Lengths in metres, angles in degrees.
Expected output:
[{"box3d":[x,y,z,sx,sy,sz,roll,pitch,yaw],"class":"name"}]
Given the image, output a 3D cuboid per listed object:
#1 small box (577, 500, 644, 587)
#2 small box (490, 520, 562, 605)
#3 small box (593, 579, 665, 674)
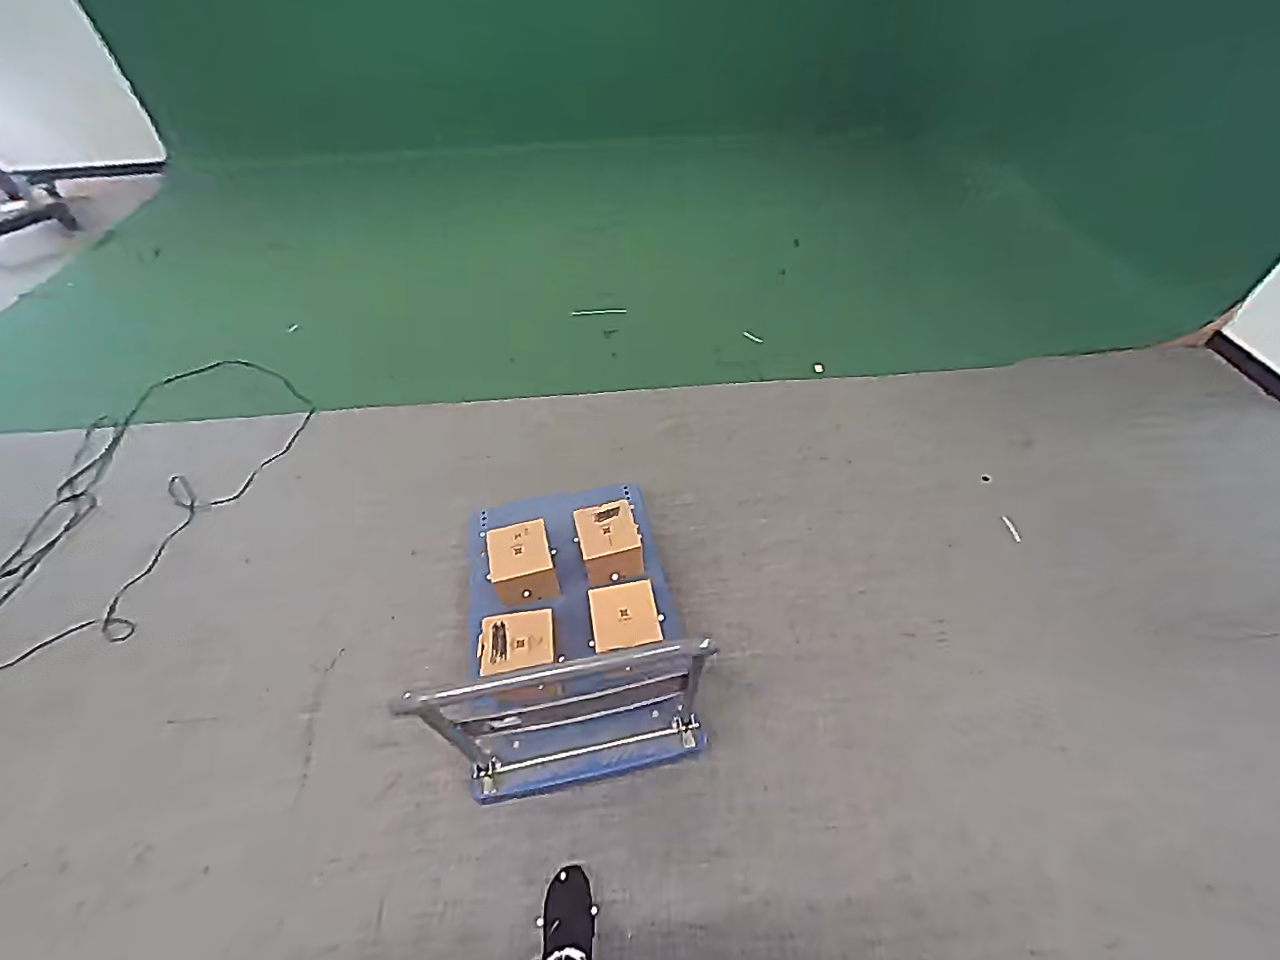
[{"box3d":[-0.088,0.191,1.618,0.168,0.176,0.179,-13,52,-8],"class":"small box"},{"box3d":[-0.330,0.248,1.580,0.168,0.176,0.179,-12,50,-9],"class":"small box"},{"box3d":[-0.032,0.394,1.448,0.168,0.176,0.179,-9,51,-6],"class":"small box"}]
